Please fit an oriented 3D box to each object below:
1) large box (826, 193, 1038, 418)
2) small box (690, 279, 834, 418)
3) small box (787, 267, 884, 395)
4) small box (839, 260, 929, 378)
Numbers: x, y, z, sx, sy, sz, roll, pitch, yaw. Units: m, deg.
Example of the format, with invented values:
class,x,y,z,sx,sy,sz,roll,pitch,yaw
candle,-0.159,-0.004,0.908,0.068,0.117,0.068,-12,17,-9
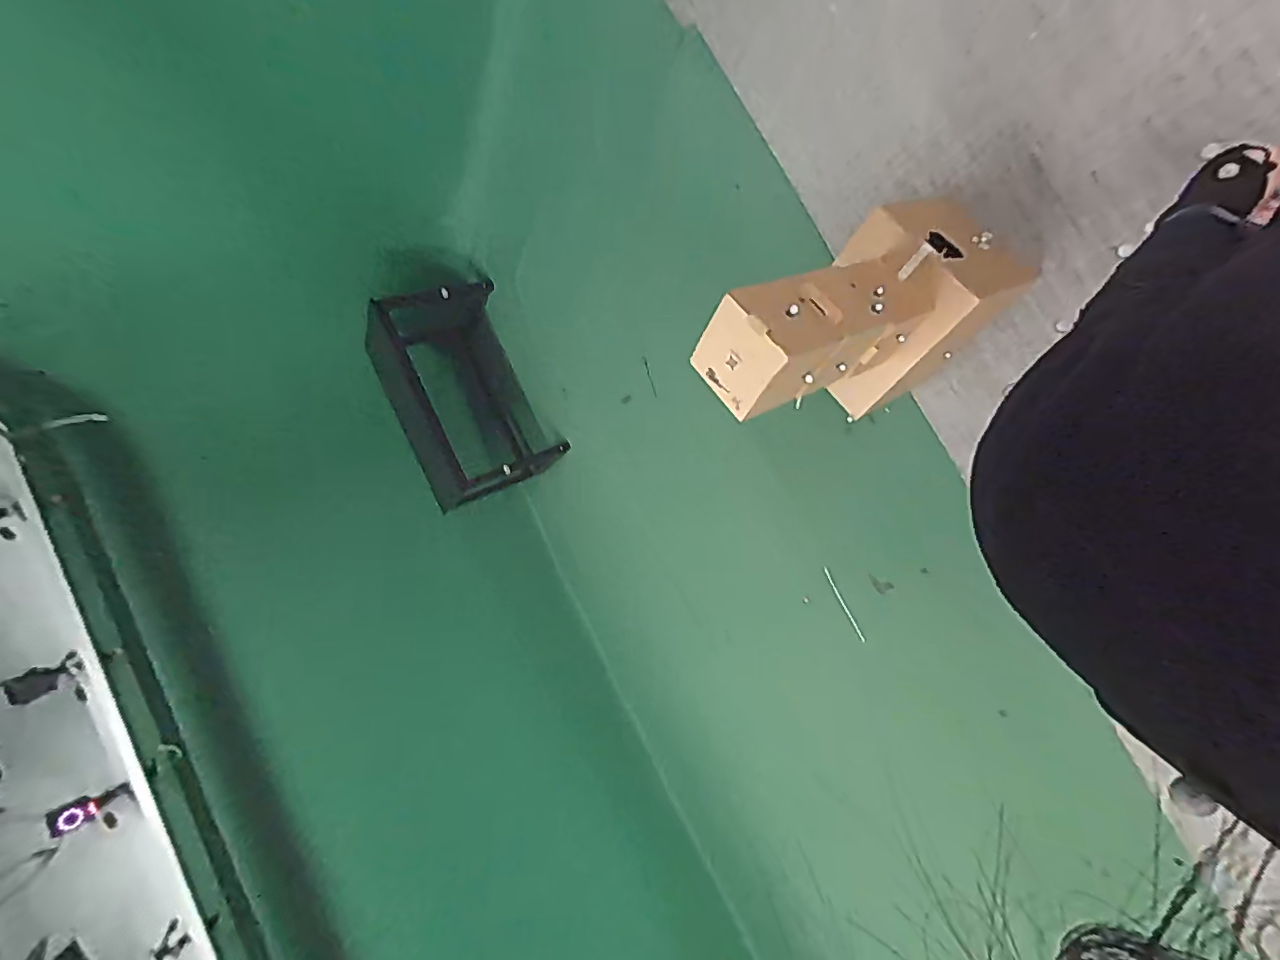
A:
class,x,y,z,sx,sy,sz,roll,pitch,yaw
large box,0.655,-0.431,1.351,0.320,0.320,0.408,55,148,18
small box,0.231,-0.249,1.009,0.168,0.176,0.179,55,145,17
small box,0.360,-0.306,1.095,0.168,0.176,0.179,54,146,18
small box,0.487,-0.358,1.184,0.179,0.176,0.168,55,146,17
